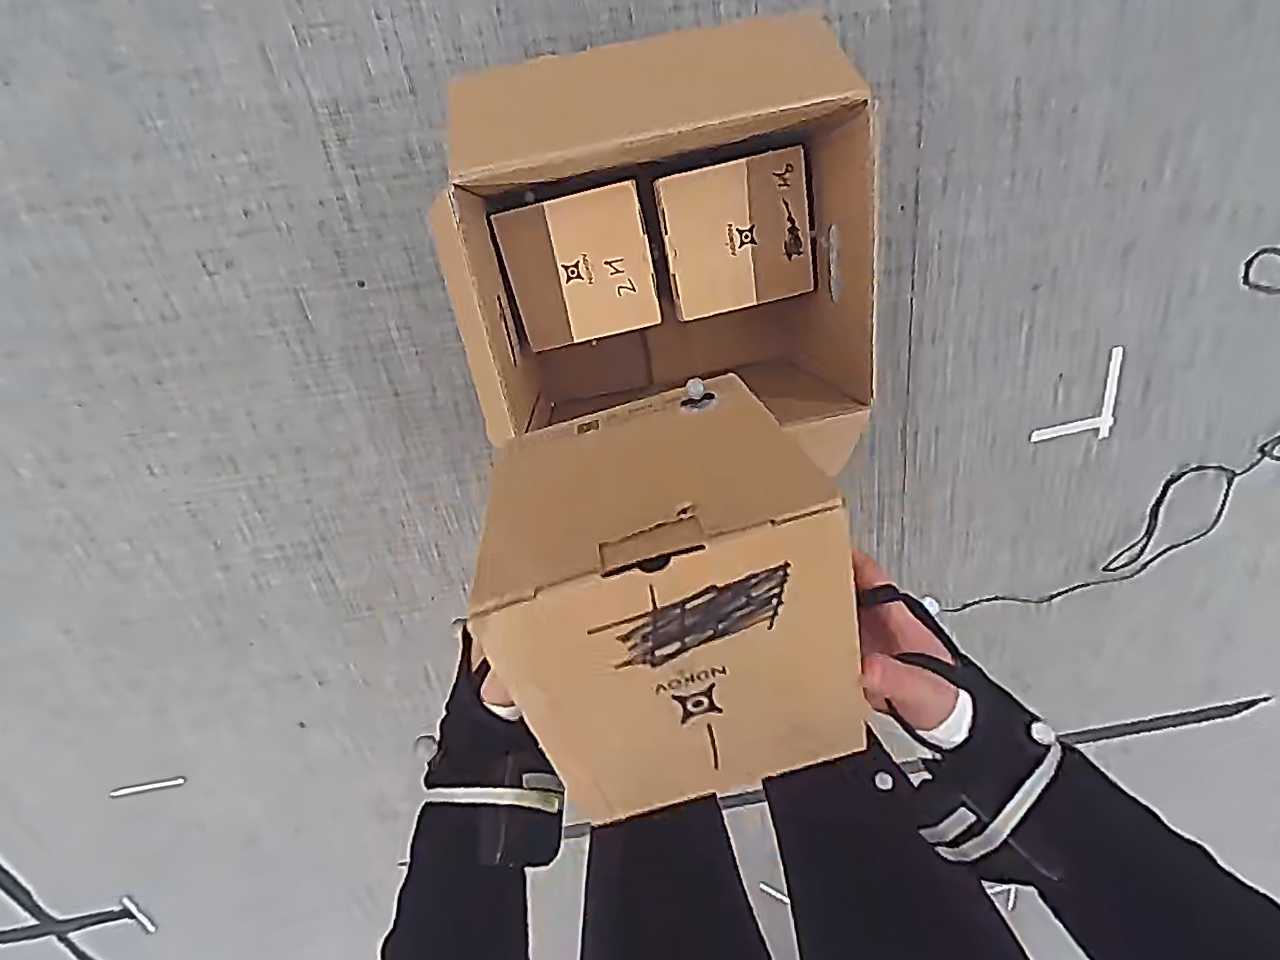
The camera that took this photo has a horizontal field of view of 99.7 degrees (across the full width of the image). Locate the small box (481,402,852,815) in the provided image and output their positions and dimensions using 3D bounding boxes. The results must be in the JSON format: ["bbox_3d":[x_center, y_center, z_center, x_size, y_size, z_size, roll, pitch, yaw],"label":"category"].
[{"bbox_3d":[0.016,0.065,0.343,0.168,0.176,0.179,-16,121,1],"label":"small box"}]
